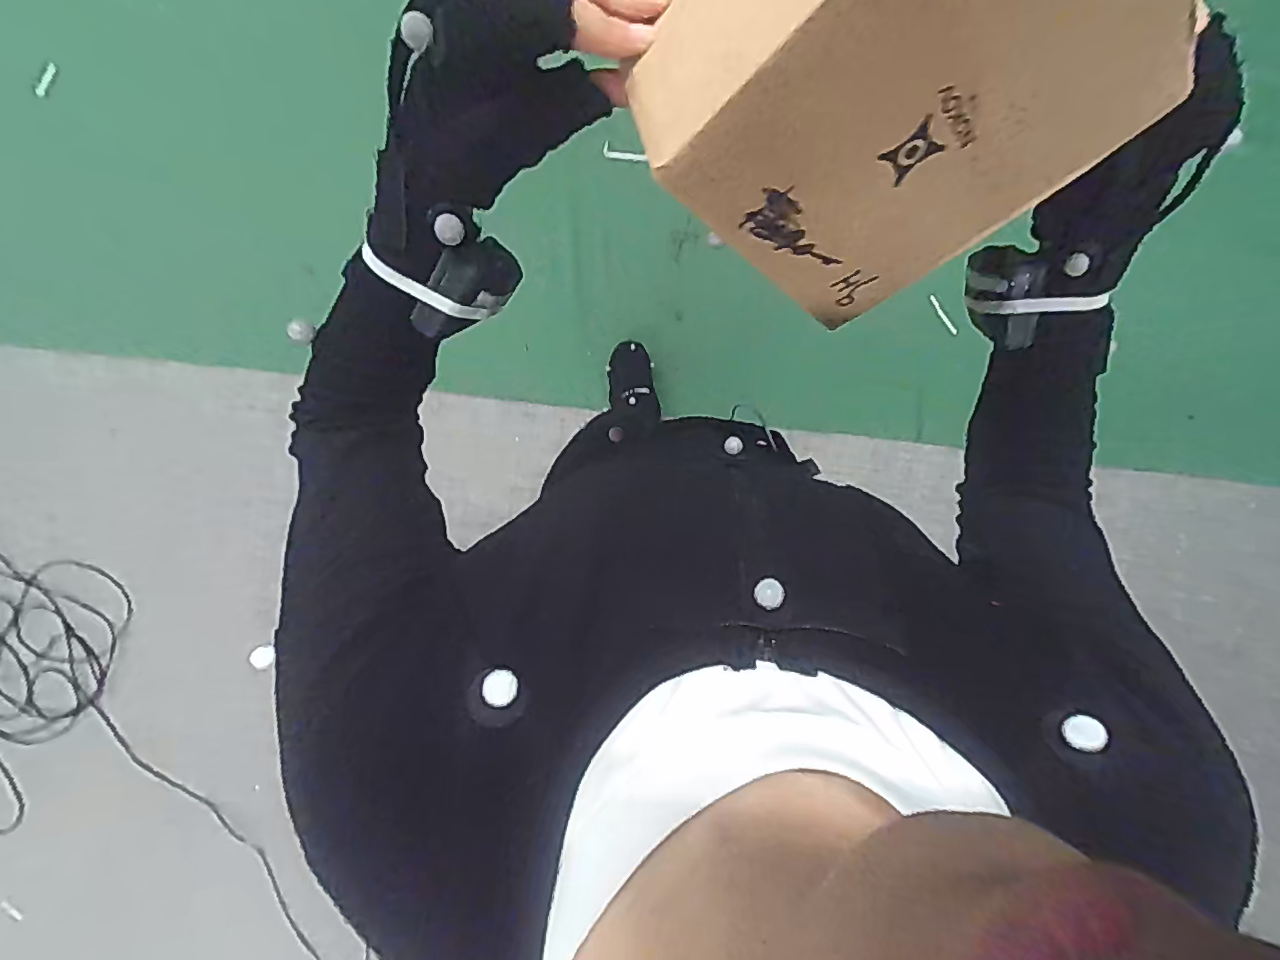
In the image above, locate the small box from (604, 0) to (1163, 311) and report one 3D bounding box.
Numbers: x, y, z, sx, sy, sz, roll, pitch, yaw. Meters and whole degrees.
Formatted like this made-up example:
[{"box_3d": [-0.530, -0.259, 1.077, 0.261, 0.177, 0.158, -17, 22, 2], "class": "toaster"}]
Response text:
[{"box_3d": [0.101, -0.229, 0.267, 0.179, 0.168, 0.176, -32, 57, 34], "class": "small box"}]
